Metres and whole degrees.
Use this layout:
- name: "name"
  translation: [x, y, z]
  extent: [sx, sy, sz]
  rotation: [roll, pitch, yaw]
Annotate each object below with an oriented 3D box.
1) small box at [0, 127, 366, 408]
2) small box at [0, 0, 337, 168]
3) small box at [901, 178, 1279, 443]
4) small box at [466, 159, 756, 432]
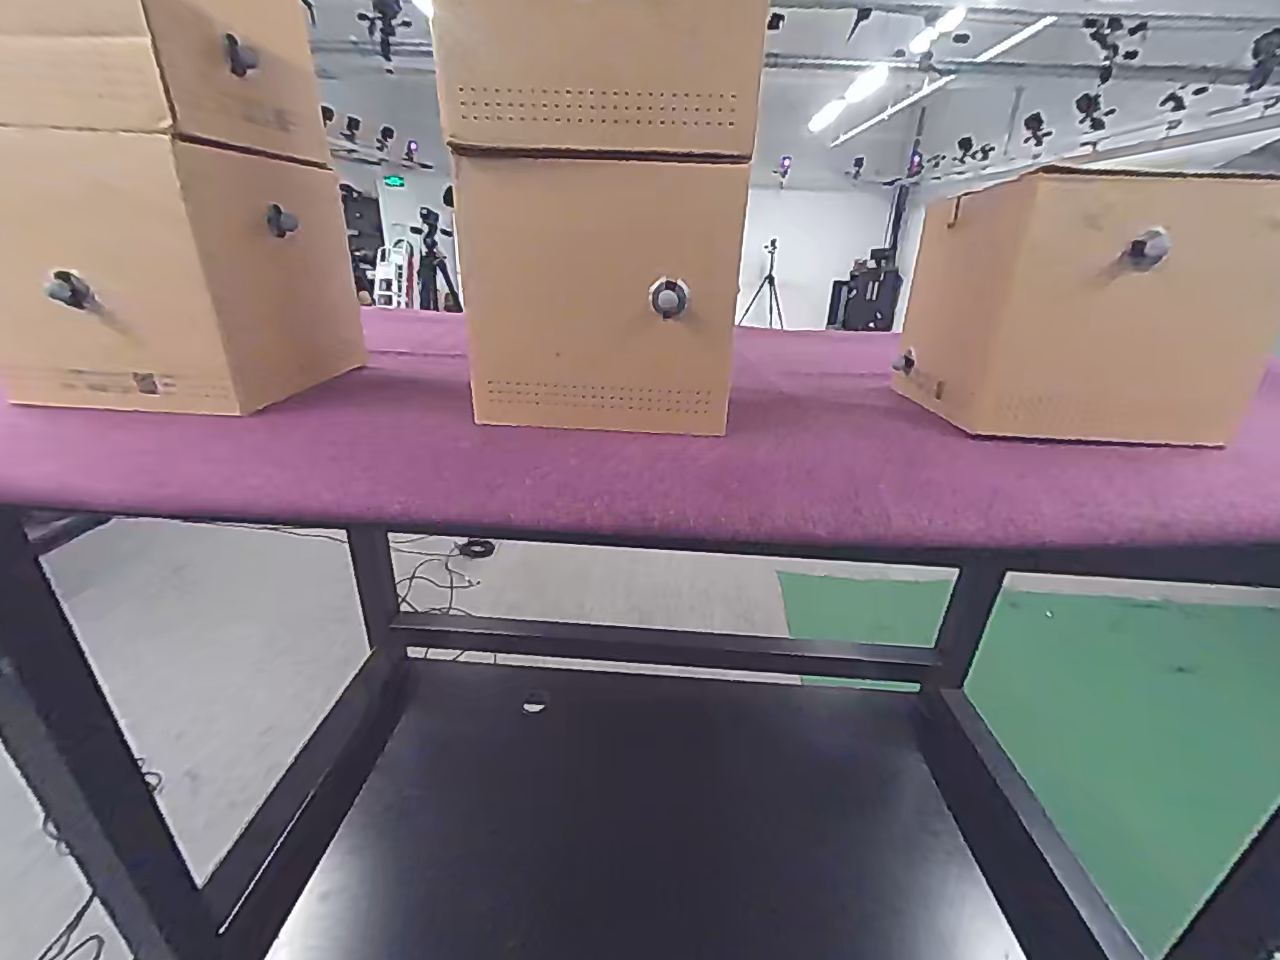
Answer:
- name: "small box"
  translation: [-0.339, -0.160, 0.423]
  extent: [0.168, 0.176, 0.179]
  rotation: [4, 23, 0]
- name: "small box"
  translation: [-0.336, -0.309, 0.357]
  extent: [0.179, 0.176, 0.168]
  rotation: [3, 24, -2]
- name: "small box"
  translation: [0.331, -0.132, 0.436]
  extent: [0.179, 0.176, 0.168]
  rotation: [4, 21, 3]
- name: "small box"
  translation: [-0.018, -0.141, 0.424]
  extent: [0.179, 0.176, 0.168]
  rotation: [2, 23, 1]
